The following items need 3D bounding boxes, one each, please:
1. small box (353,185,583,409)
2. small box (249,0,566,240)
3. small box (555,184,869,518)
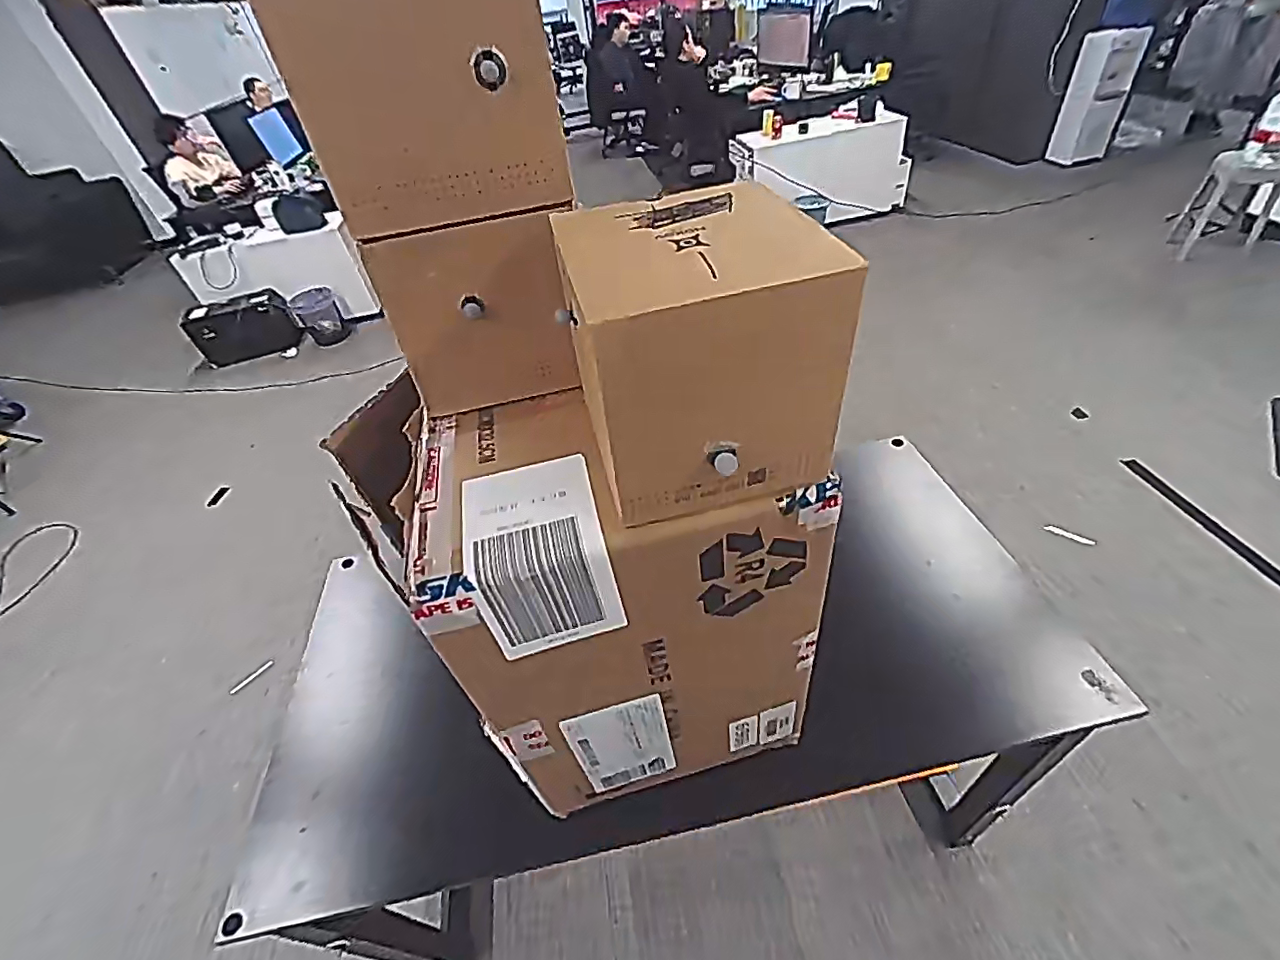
[{"bbox_3d":[-0.146,-0.190,0.536,0.179,0.176,0.168,-14,41,-6],"label":"small box"},{"bbox_3d":[-0.163,-0.310,0.426,0.179,0.176,0.168,-16,40,-7],"label":"small box"},{"bbox_3d":[0.039,-0.100,0.410,0.168,0.176,0.179,-14,44,-6],"label":"small box"}]
